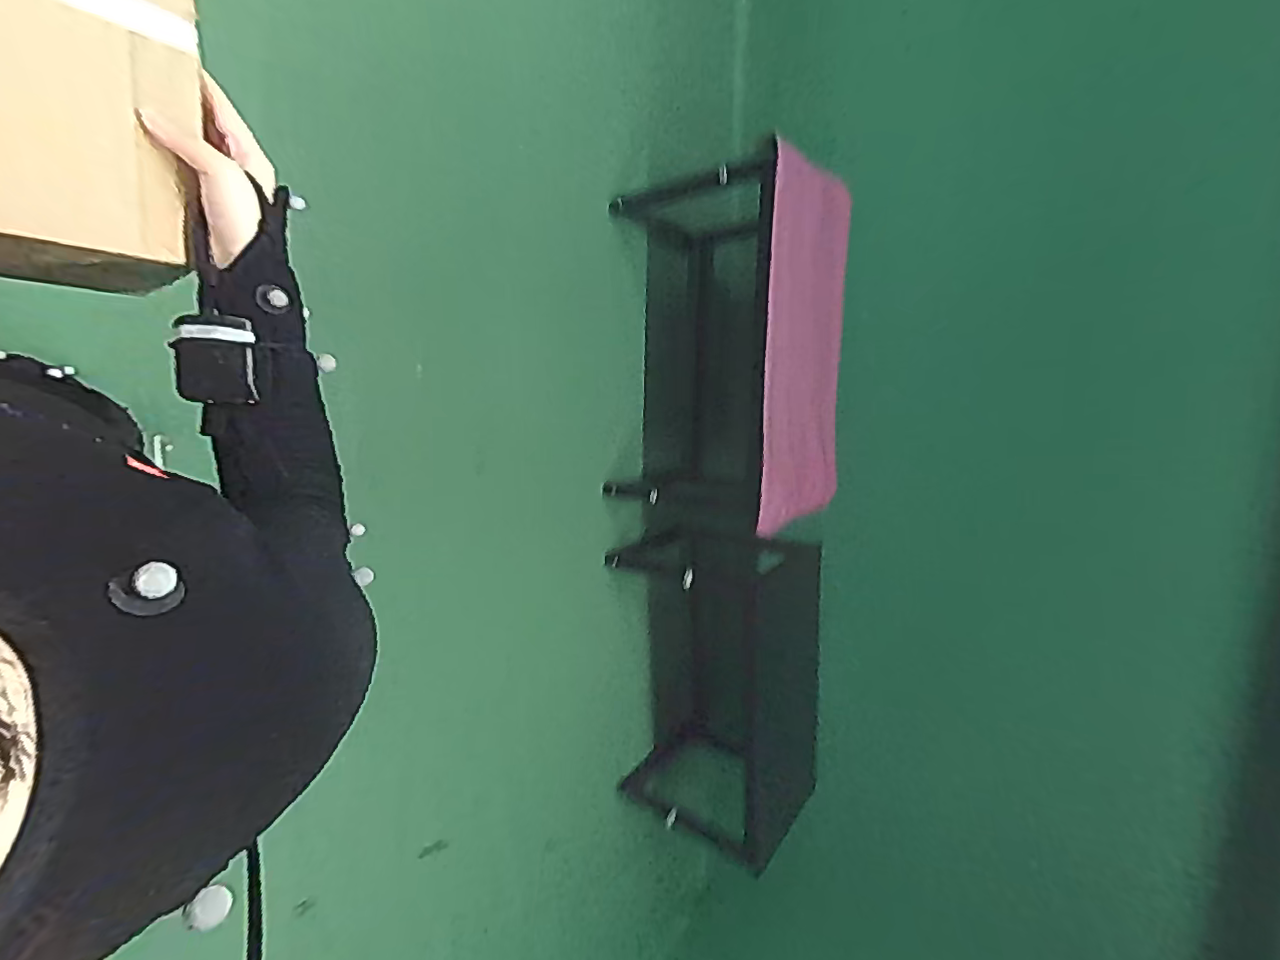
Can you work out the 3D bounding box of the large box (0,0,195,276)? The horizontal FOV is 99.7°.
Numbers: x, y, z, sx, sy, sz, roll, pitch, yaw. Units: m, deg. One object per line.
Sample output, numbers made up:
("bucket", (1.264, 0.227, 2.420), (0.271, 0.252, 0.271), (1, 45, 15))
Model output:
("large box", (-0.578, -0.330, 0.334), (0.408, 0.320, 0.320), (-9, 106, -49))
